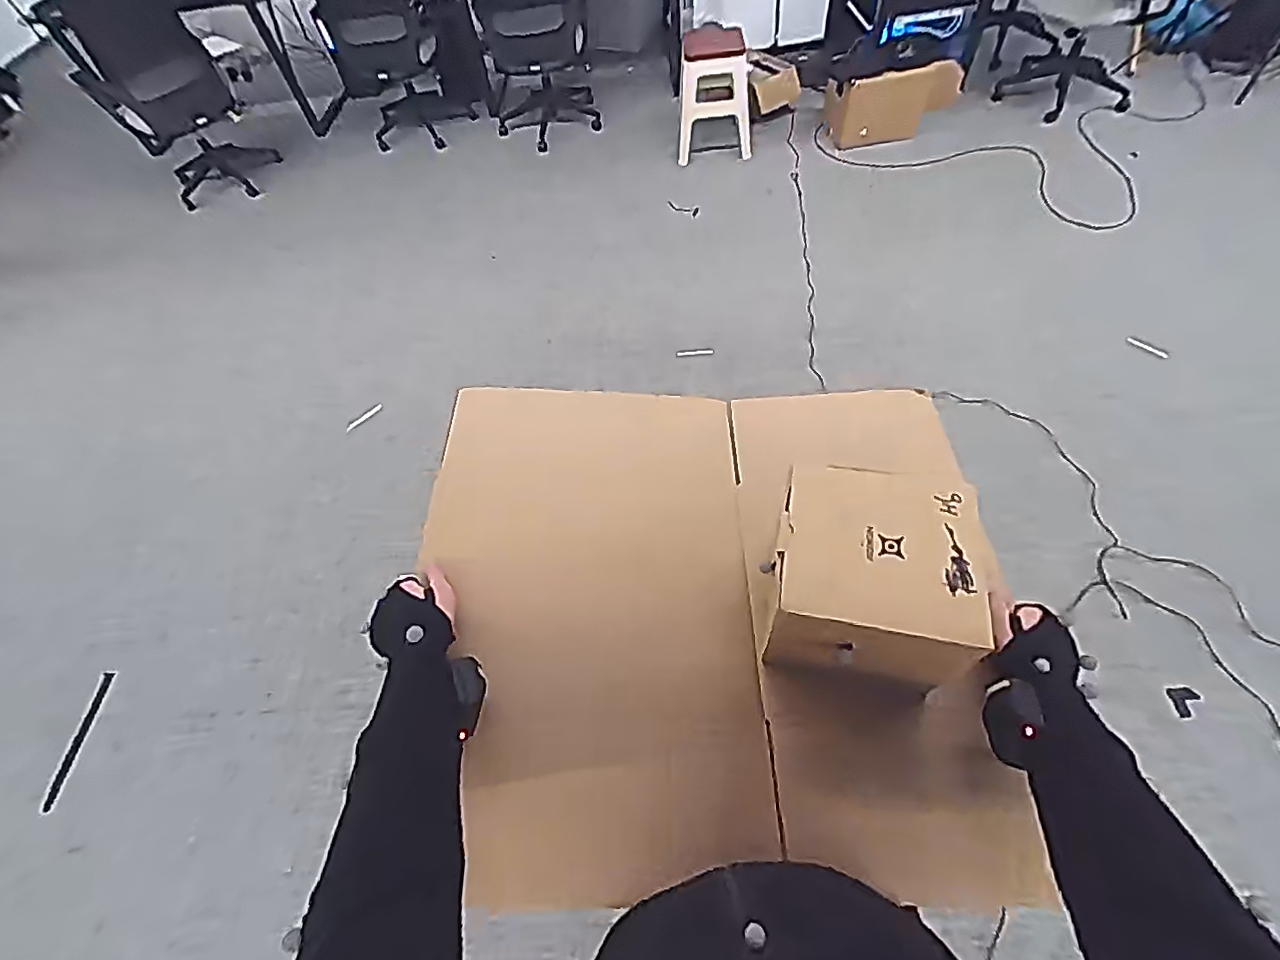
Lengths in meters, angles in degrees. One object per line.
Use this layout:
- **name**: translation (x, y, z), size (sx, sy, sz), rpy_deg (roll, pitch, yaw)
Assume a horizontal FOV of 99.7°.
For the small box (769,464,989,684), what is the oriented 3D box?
- **small box**: translation (0.236, 0.104, 0.576), size (0.179, 0.176, 0.168), rpy_deg (7, 58, 13)
